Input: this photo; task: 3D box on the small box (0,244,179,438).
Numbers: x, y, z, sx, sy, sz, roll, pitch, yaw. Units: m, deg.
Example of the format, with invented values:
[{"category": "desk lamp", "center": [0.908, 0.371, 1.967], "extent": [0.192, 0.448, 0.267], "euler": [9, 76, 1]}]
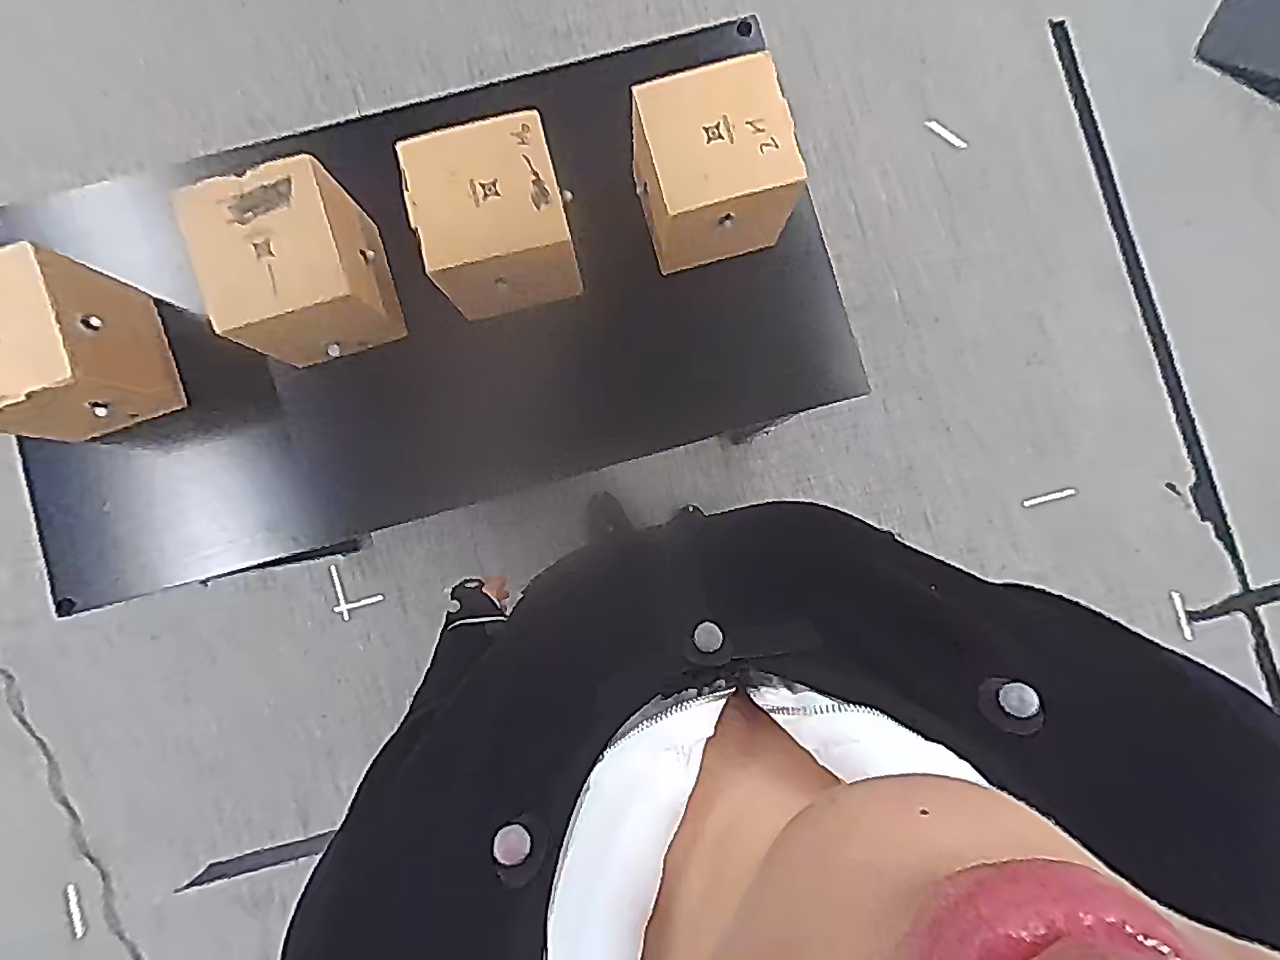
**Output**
[{"category": "small box", "center": [-0.749, -0.161, 0.692], "extent": [0.168, 0.176, 0.179], "euler": [-20, 87, -3]}]

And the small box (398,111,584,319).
[{"category": "small box", "center": [-0.182, -0.331, 0.710], "extent": [0.179, 0.176, 0.168], "euler": [-14, 88, -1]}]

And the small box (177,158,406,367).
[{"category": "small box", "center": [-0.434, -0.267, 0.702], "extent": [0.168, 0.176, 0.179], "euler": [-17, 89, -2]}]

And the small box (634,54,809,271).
[{"category": "small box", "center": [0.097, -0.402, 0.716], "extent": [0.179, 0.176, 0.168], "euler": [-15, 88, -1]}]
